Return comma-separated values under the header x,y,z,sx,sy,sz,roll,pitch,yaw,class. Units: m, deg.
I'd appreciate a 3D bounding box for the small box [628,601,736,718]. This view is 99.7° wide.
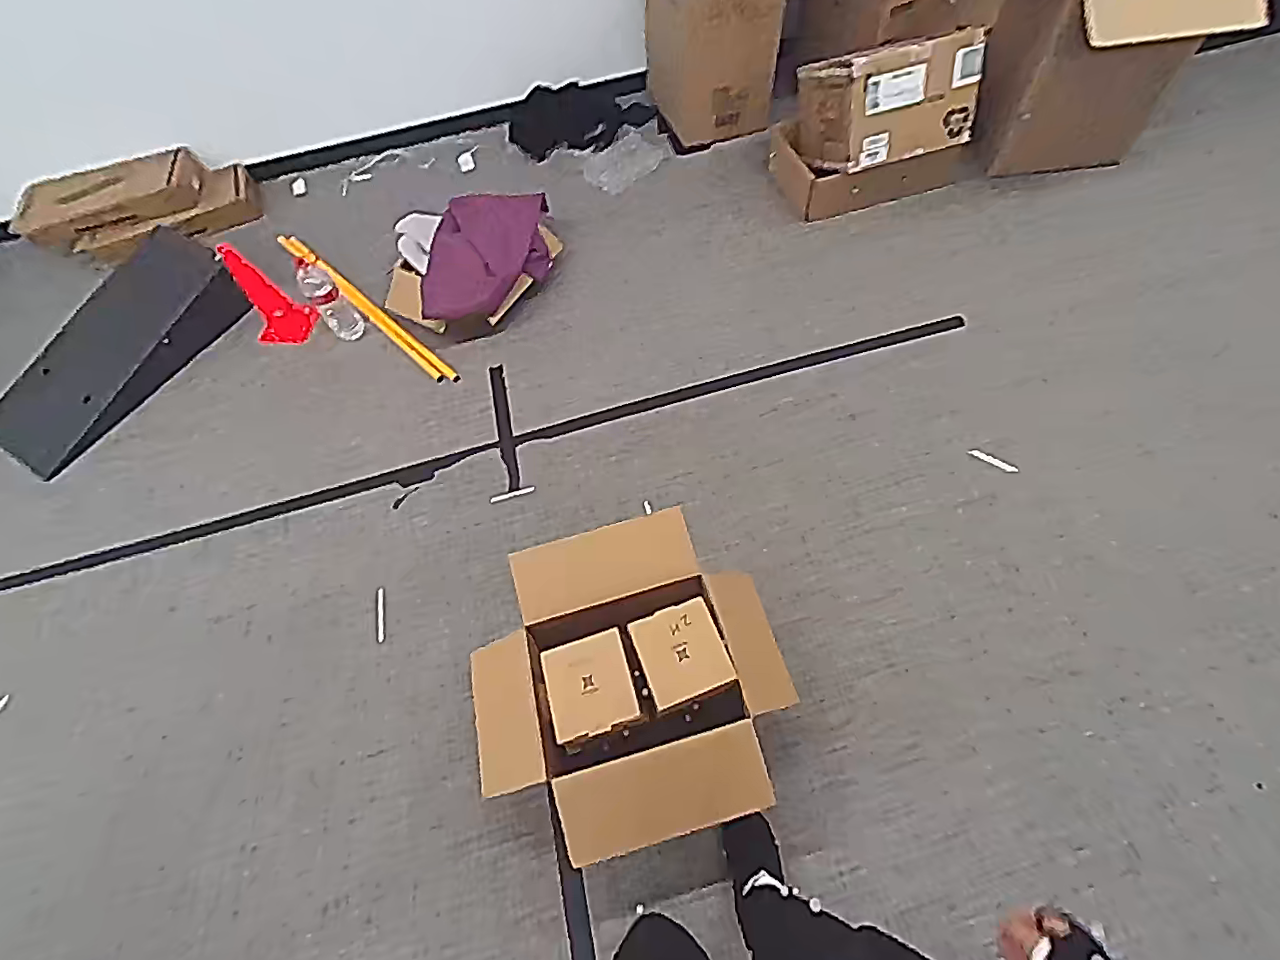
x,y,z,sx,sy,sz,roll,pitch,yaw,class
0.083,0.380,1.125,0.168,0.176,0.179,-19,61,-9,small box
